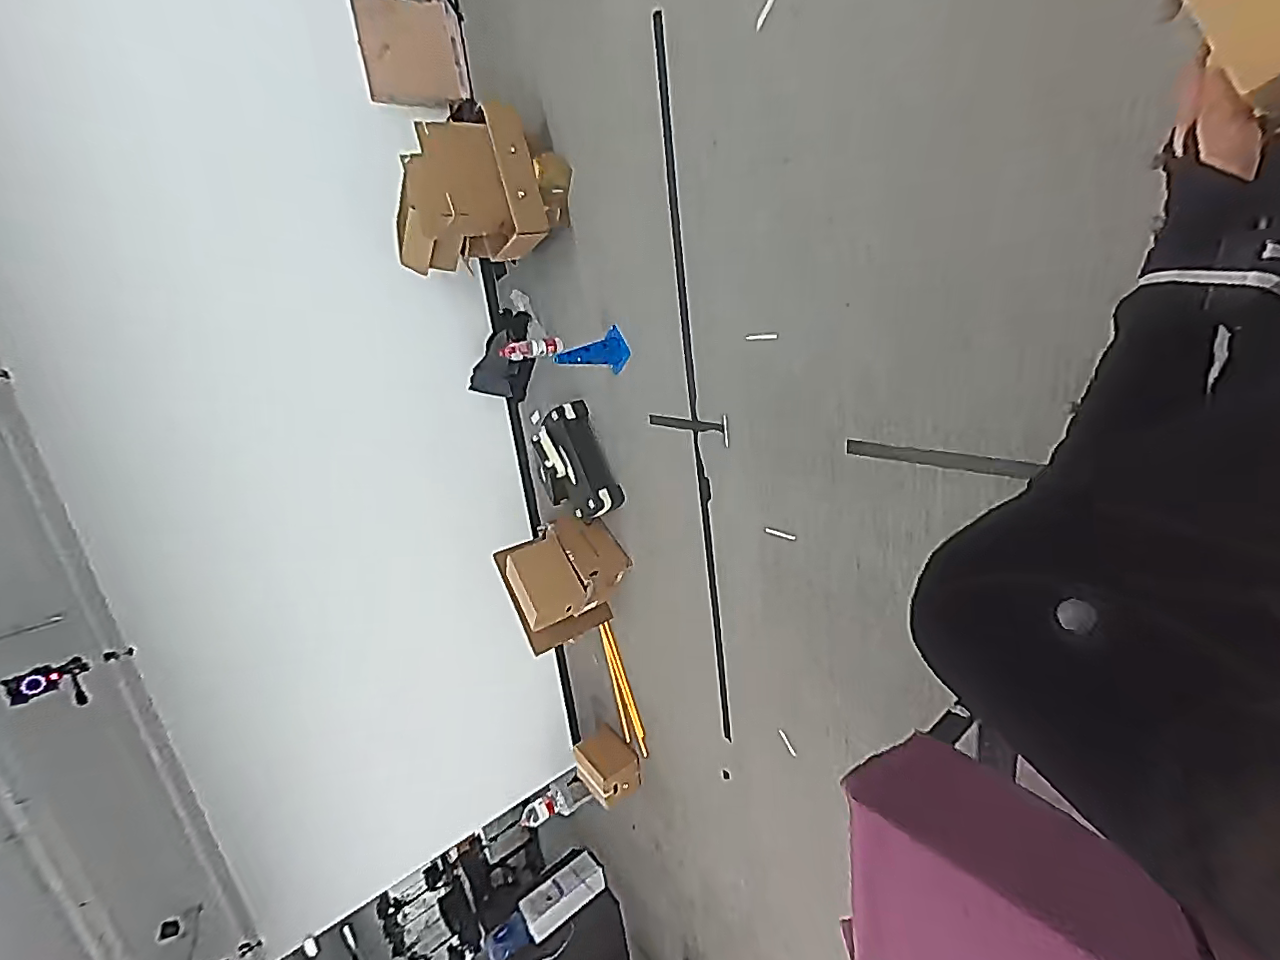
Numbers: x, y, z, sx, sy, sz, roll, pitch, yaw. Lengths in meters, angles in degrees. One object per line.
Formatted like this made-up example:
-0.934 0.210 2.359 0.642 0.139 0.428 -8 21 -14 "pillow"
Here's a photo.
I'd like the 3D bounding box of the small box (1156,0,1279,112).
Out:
0.433 -0.356 0.320 0.168 0.176 0.179 -35 70 58 "small box"
